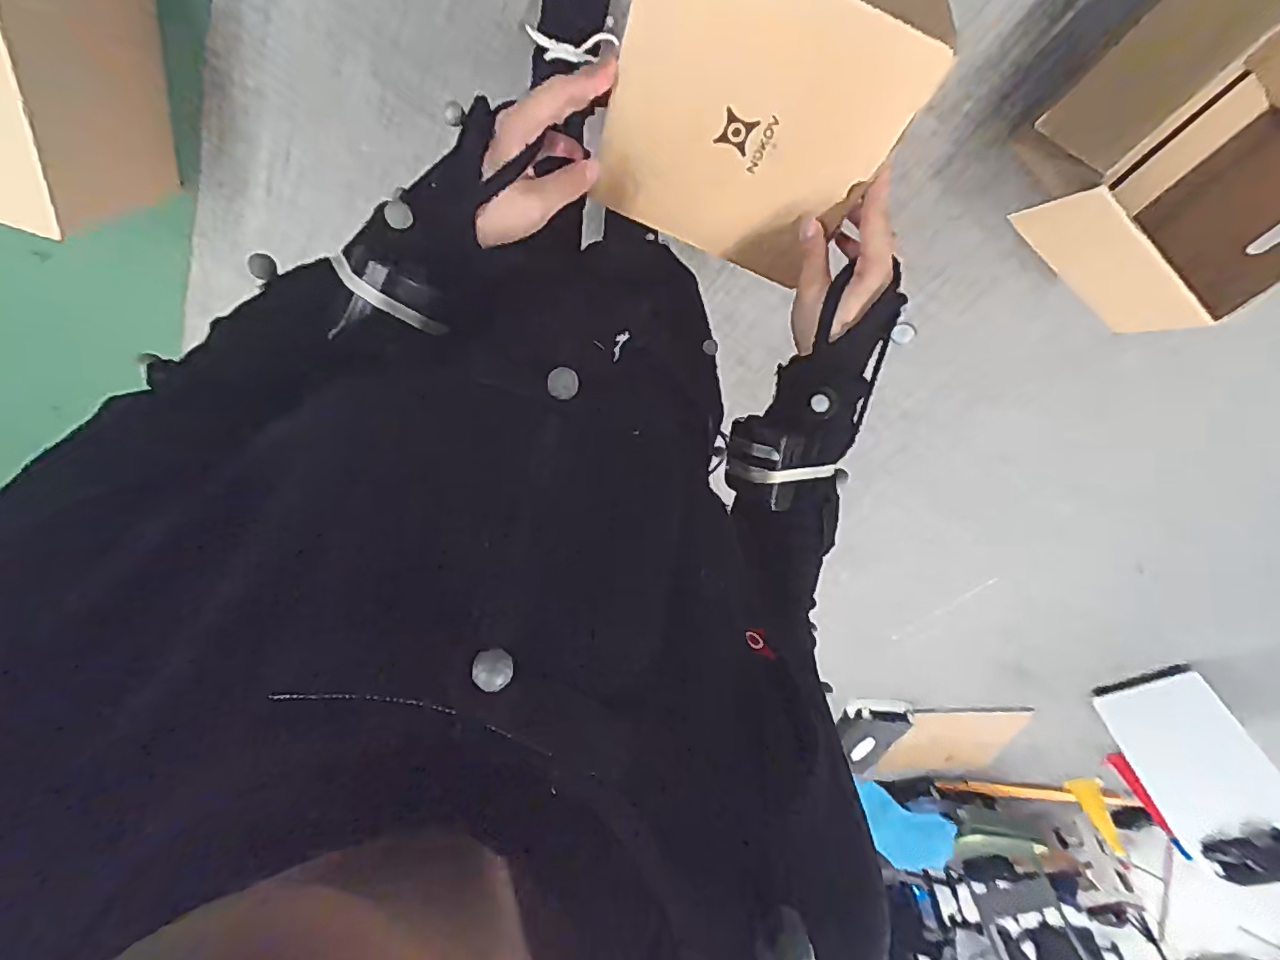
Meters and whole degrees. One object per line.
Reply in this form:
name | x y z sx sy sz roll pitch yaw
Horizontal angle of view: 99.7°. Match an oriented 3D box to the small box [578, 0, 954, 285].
small box | 0.078 -0.281 0.379 0.179 0.176 0.168 21 146 -8
